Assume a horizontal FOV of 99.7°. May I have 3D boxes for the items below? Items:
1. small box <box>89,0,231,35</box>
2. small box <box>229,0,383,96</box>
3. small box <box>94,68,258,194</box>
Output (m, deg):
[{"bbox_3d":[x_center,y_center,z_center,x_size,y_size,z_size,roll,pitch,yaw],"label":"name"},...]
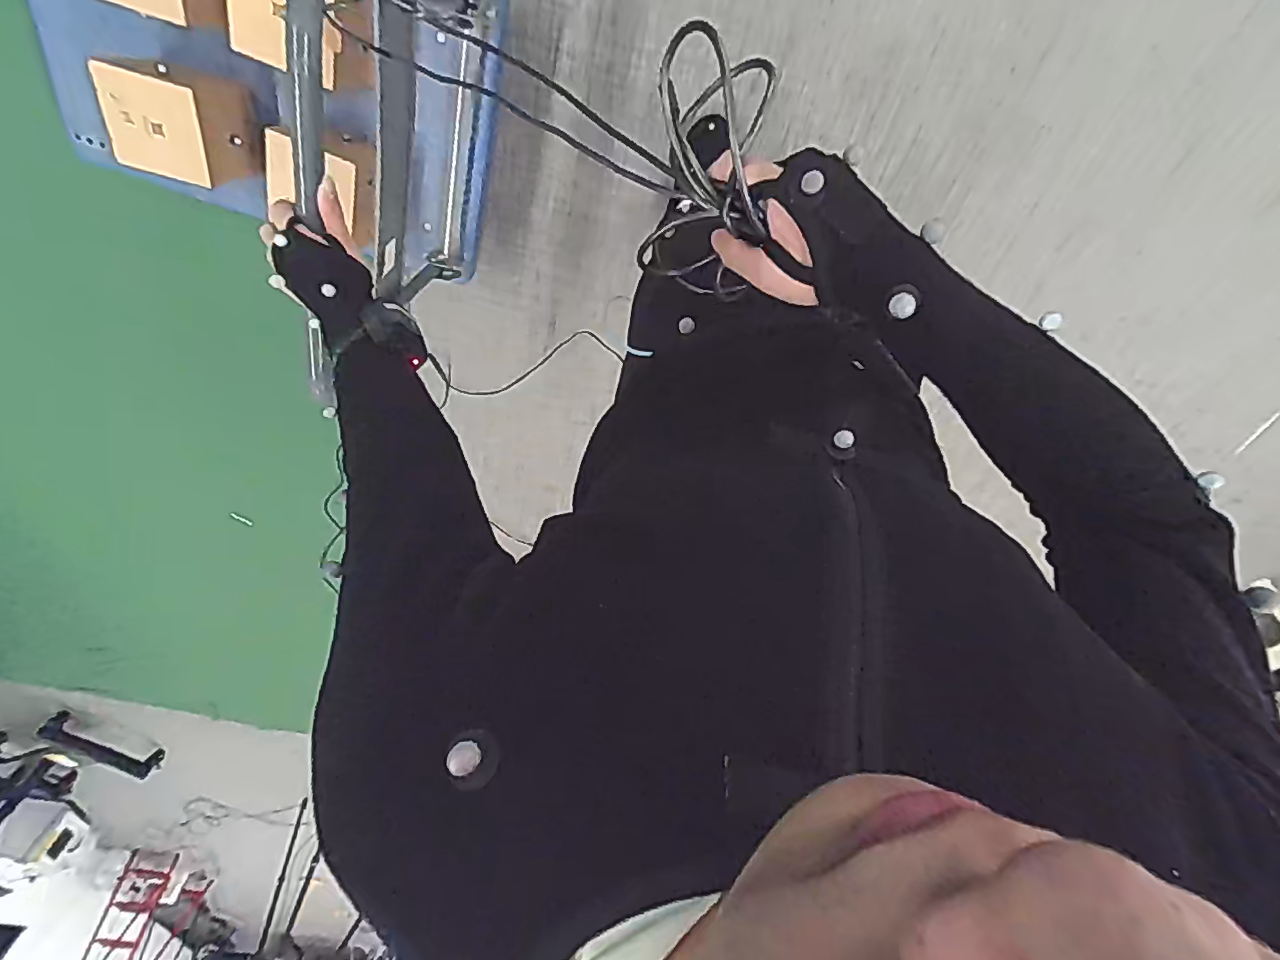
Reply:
[{"bbox_3d":[-0.815,-0.883,0.917,0.179,0.176,0.168,15,128,-8],"label":"small box"},{"bbox_3d":[-0.584,-0.808,0.956,0.179,0.176,0.168,18,127,-9],"label":"small box"},{"bbox_3d":[-0.894,-0.693,1.070,0.179,0.176,0.168,14,127,-6],"label":"small box"}]
